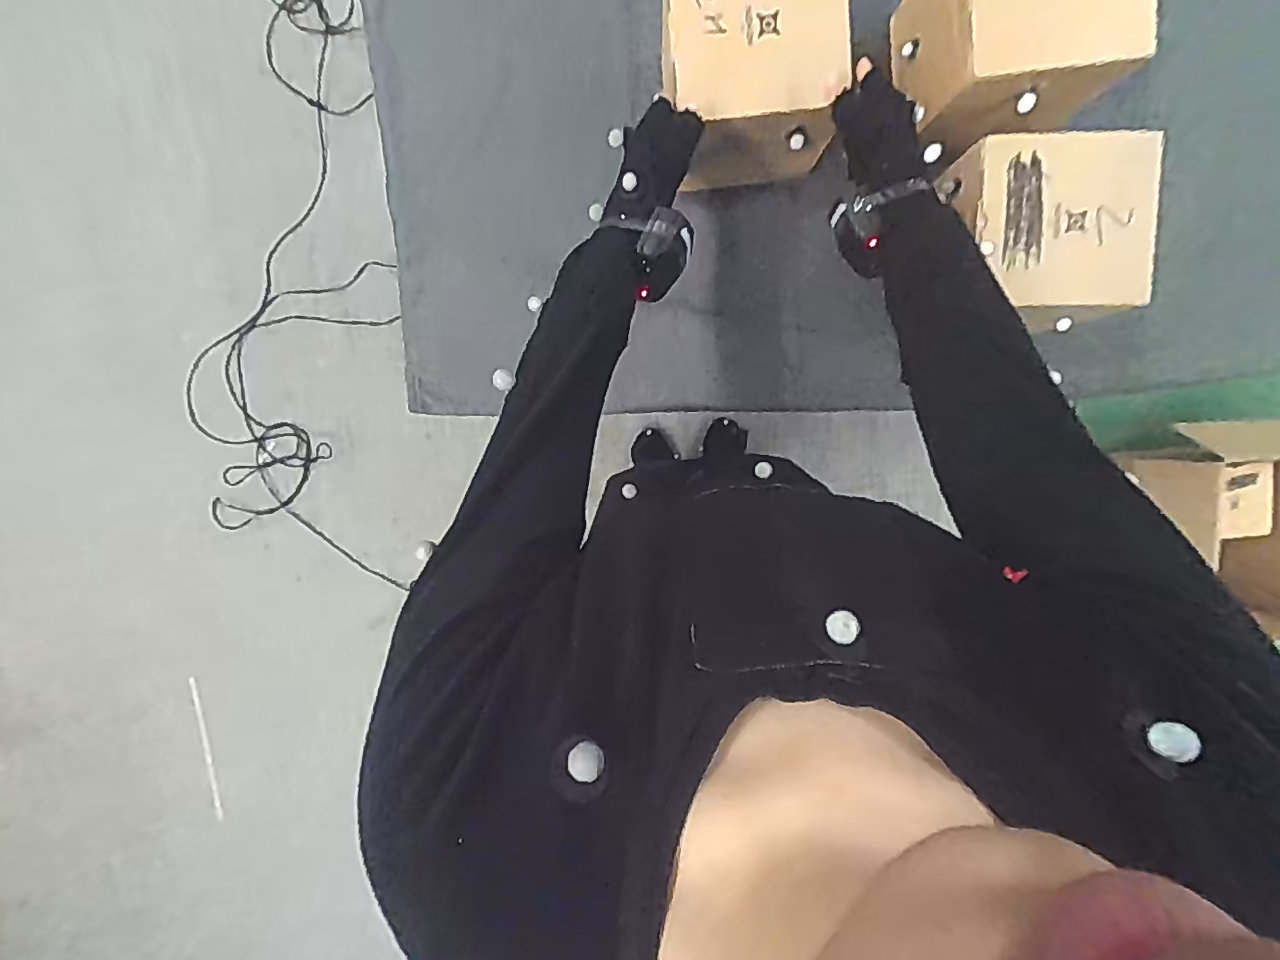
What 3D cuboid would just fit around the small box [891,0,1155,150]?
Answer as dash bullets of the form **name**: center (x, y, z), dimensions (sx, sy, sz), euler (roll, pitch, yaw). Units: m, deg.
- **small box**: center (0.397, -0.489, 0.586), dimensions (0.179, 0.176, 0.168), euler (-6, 97, 3)
